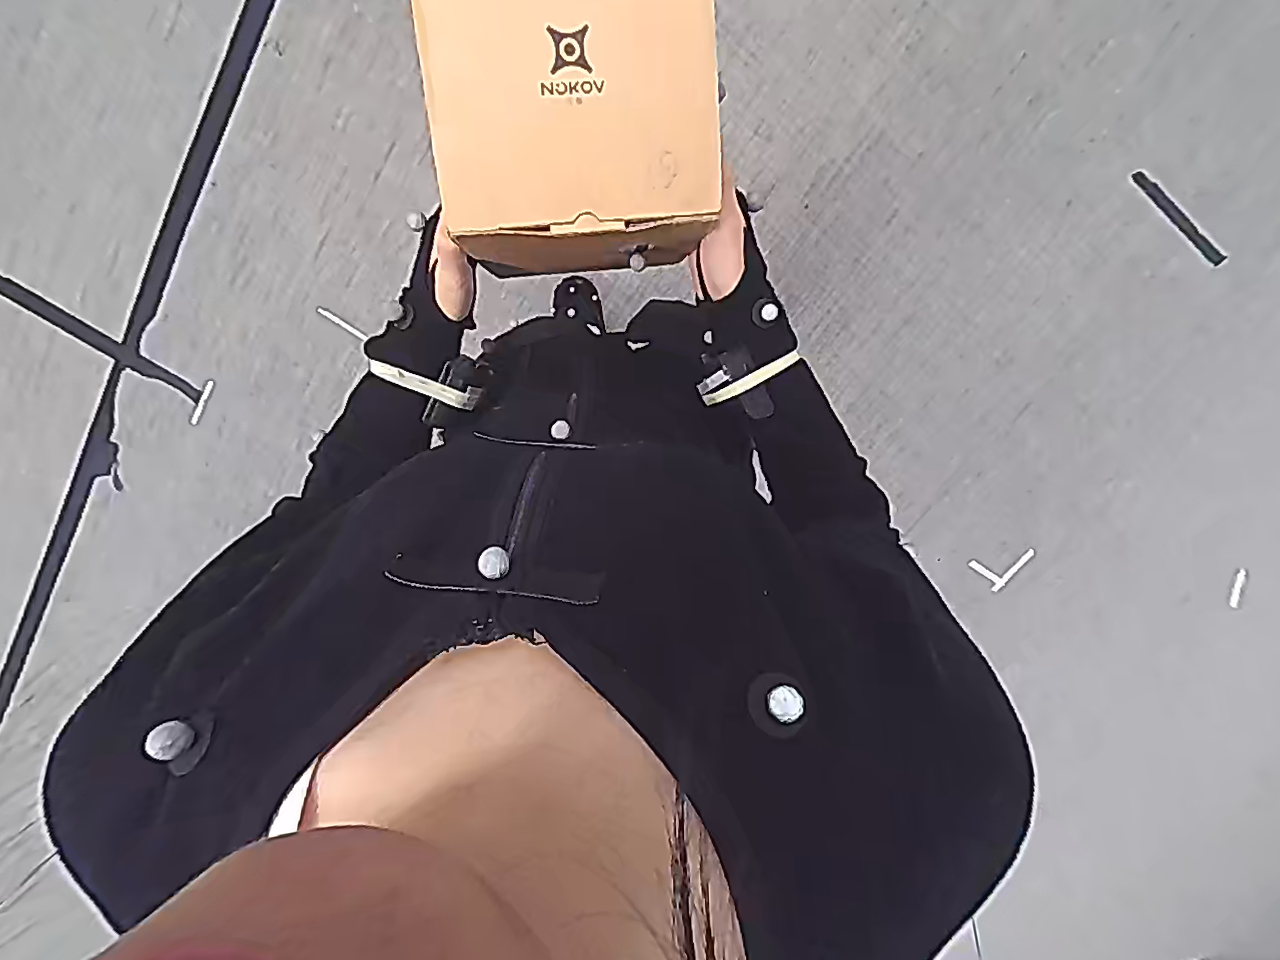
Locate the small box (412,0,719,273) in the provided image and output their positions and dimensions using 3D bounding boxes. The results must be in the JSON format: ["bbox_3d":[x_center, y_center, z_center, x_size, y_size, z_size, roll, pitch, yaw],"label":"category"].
[{"bbox_3d":[-0.046,-0.248,0.378,0.168,0.176,0.179,-6,102,-5],"label":"small box"}]
